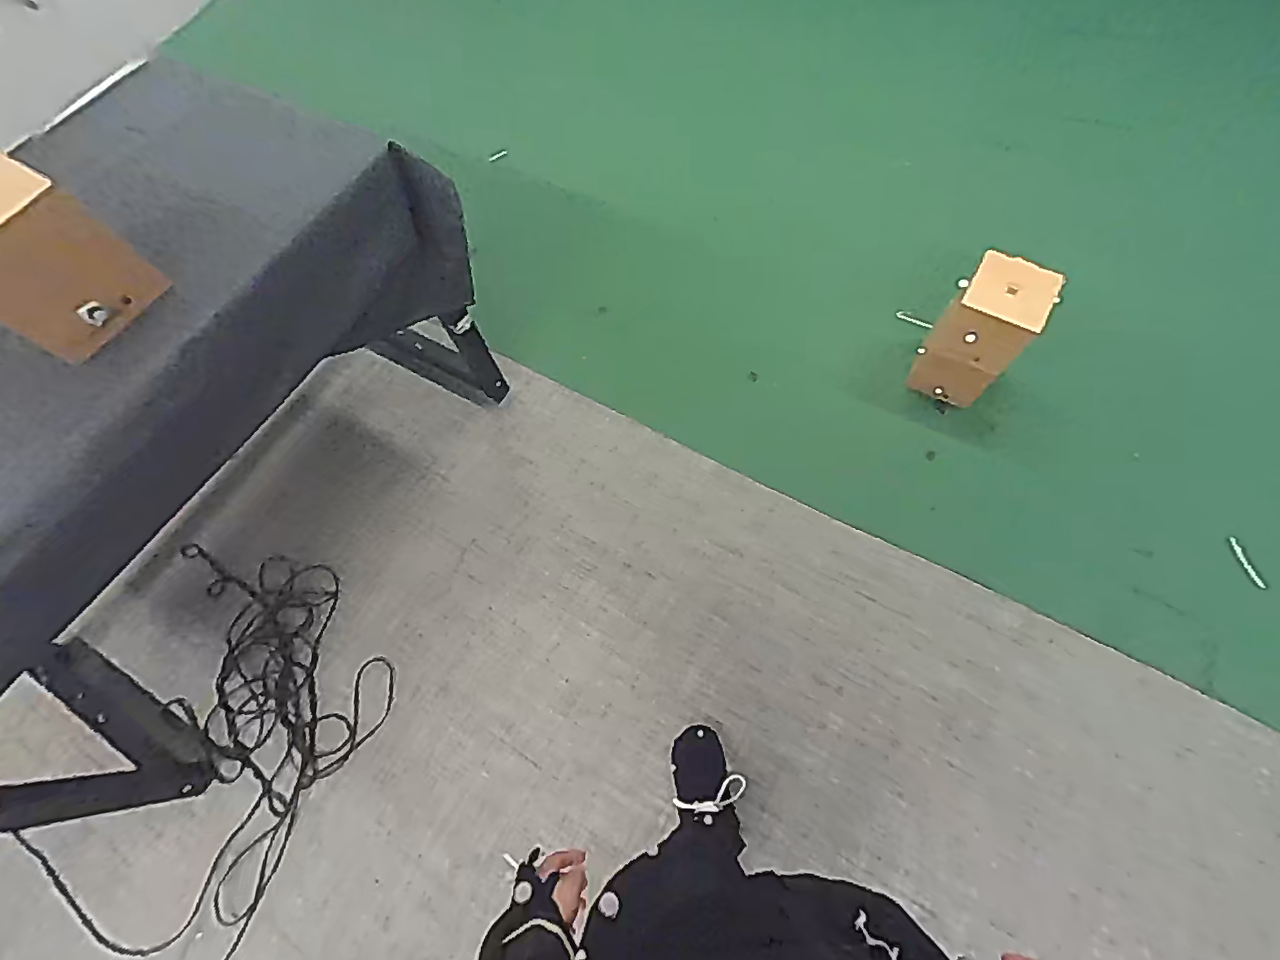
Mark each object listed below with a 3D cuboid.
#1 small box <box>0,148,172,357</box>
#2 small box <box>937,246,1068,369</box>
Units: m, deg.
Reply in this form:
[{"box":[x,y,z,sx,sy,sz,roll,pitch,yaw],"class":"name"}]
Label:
[{"box":[-0.781,-0.289,0.696,0.179,0.176,0.168,28,73,14],"class":"small box"},{"box":[0.808,-0.383,1.226,0.168,0.176,0.179,29,73,15],"class":"small box"}]
